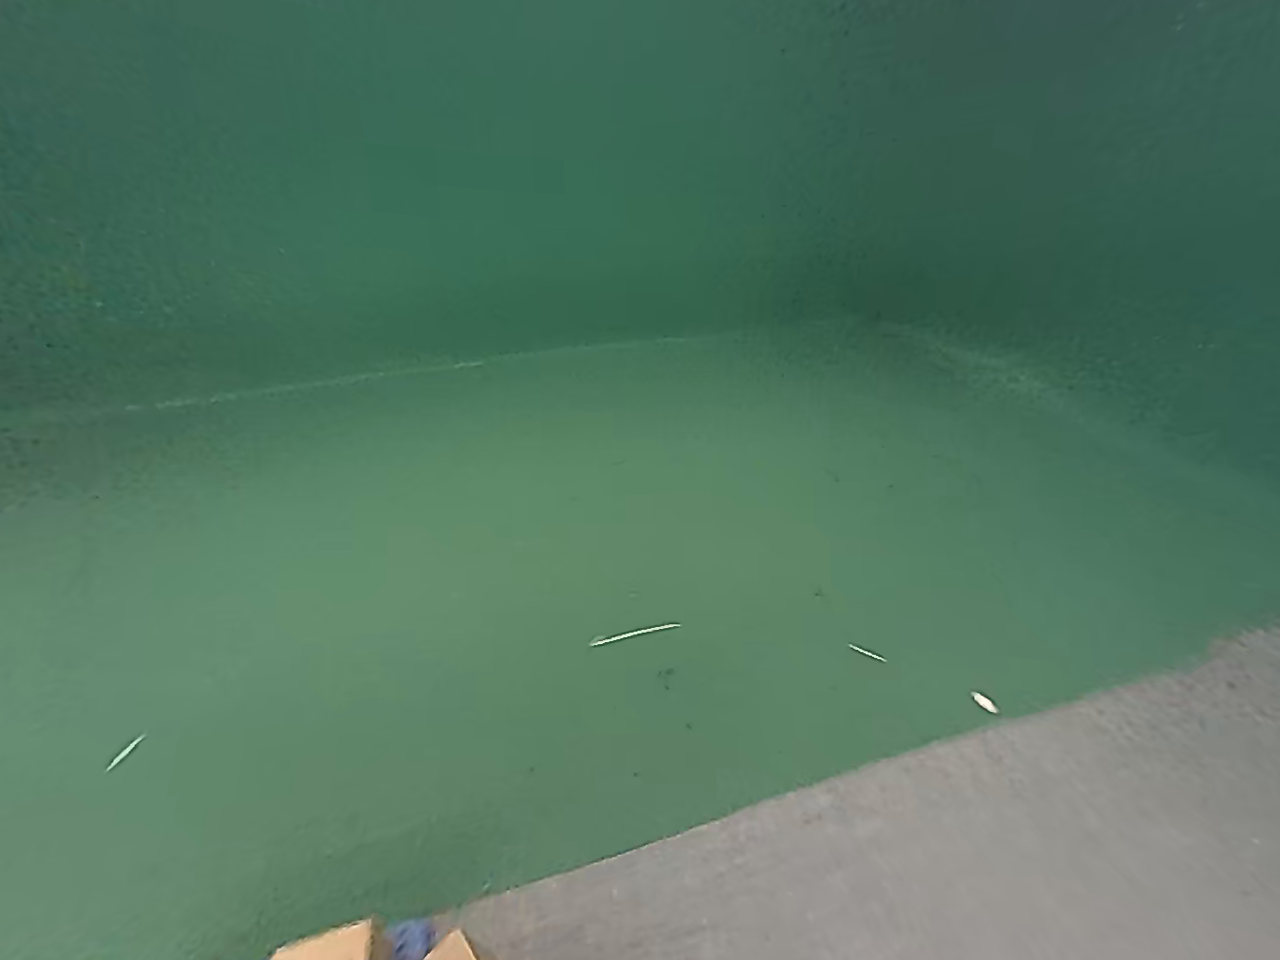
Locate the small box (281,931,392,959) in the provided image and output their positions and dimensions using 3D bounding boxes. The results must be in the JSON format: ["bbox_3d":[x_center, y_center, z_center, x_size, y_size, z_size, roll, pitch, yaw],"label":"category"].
[{"bbox_3d":[-0.584,1.003,1.024,0.179,0.176,0.168,-12,39,-13],"label":"small box"}]
